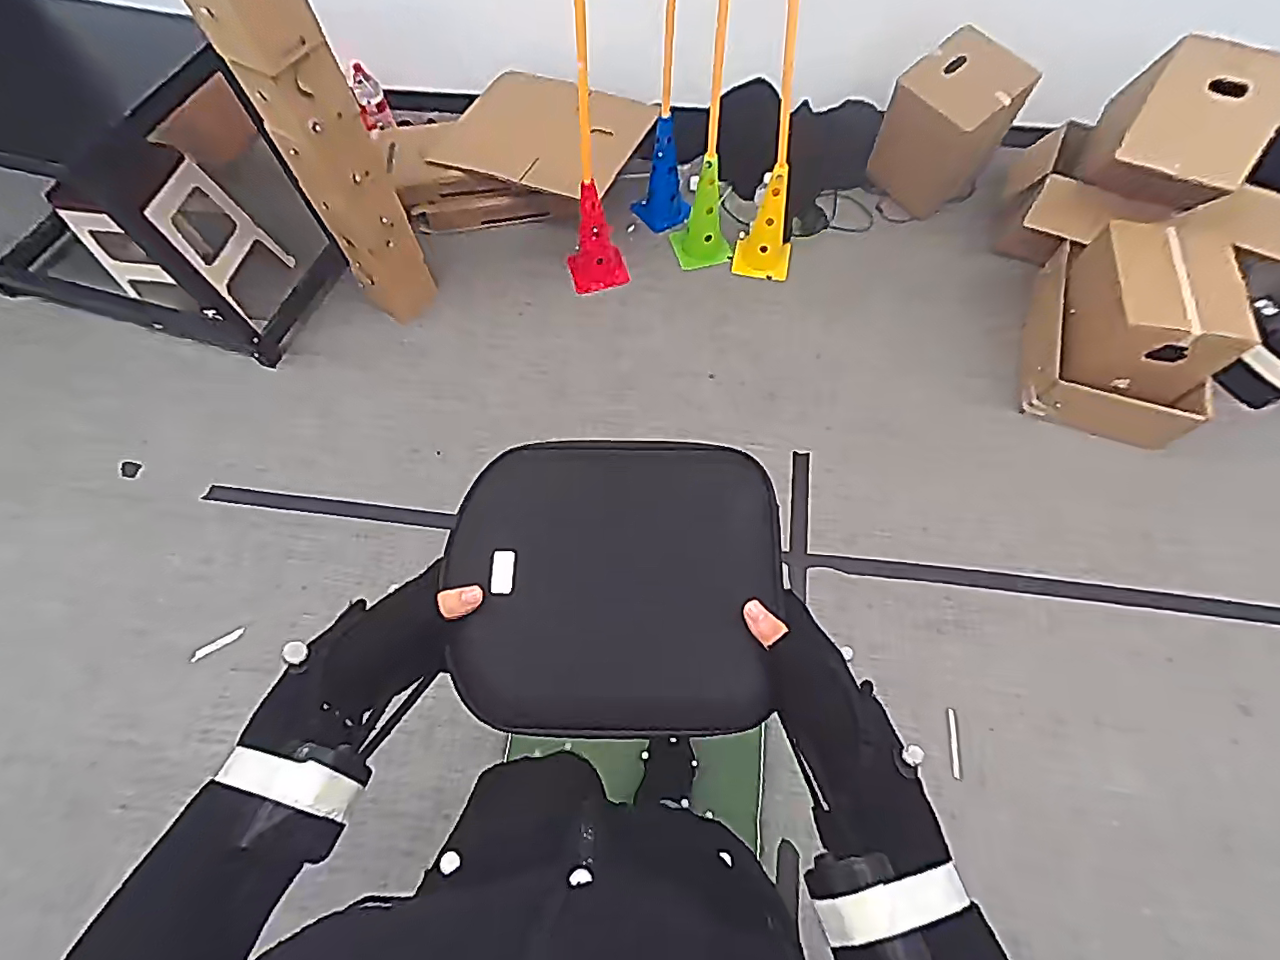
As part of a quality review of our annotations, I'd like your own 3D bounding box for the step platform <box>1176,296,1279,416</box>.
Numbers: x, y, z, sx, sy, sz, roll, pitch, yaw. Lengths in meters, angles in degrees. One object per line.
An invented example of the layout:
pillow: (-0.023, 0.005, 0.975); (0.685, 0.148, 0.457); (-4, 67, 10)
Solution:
step platform: (2.123, -0.451, 1.708); (0.684, 0.204, 0.286); (-20, 66, -8)
